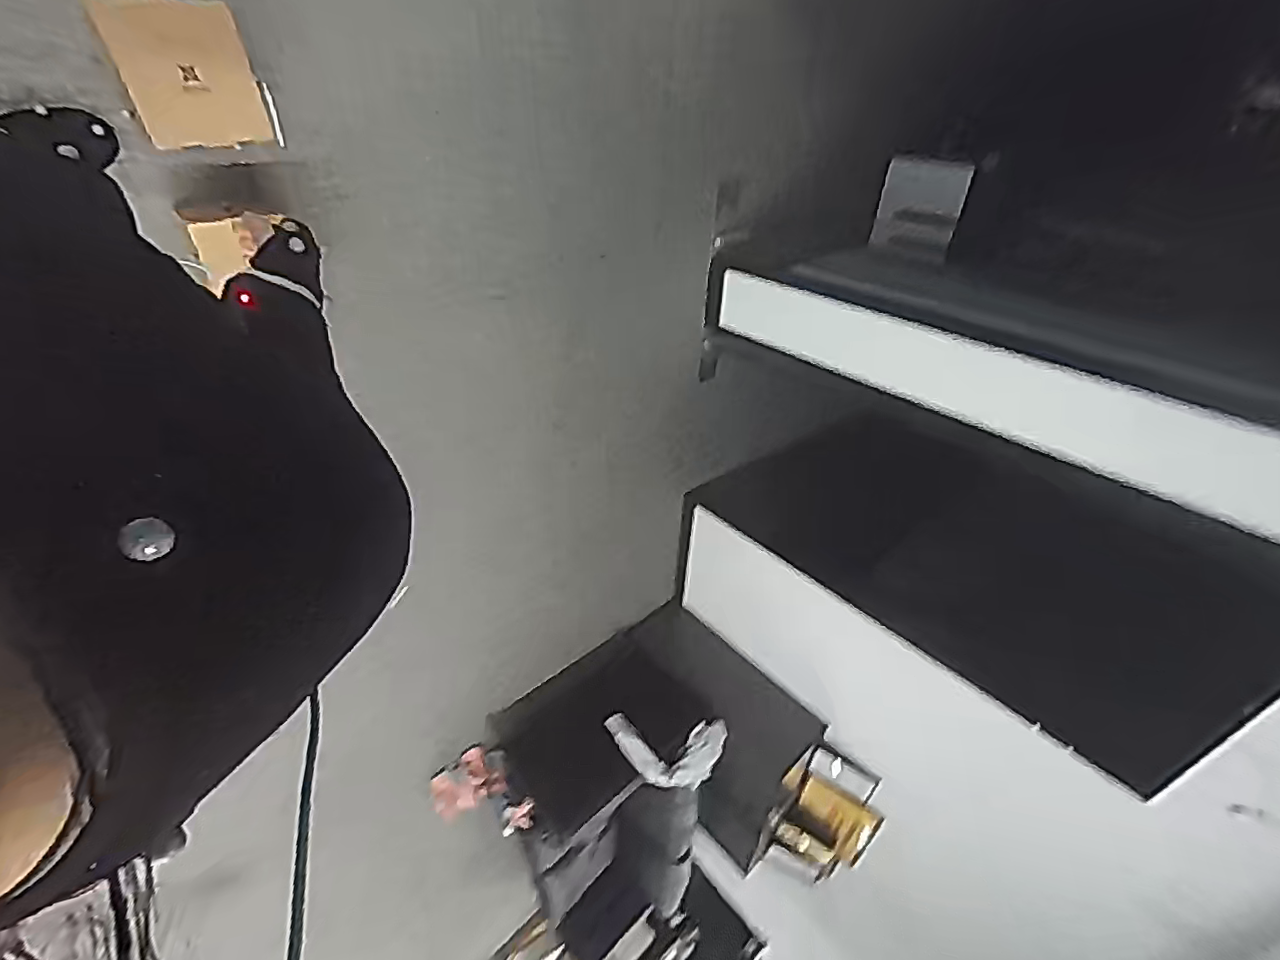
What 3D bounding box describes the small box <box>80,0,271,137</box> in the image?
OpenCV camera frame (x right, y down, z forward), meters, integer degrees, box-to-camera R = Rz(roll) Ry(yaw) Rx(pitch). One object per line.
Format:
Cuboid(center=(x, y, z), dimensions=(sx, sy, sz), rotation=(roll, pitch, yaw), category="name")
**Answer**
Cuboid(center=(-0.711, -0.644, 0.834), dimensions=(0.168, 0.176, 0.179), rotation=(-29, 135, -32), category="small box")
